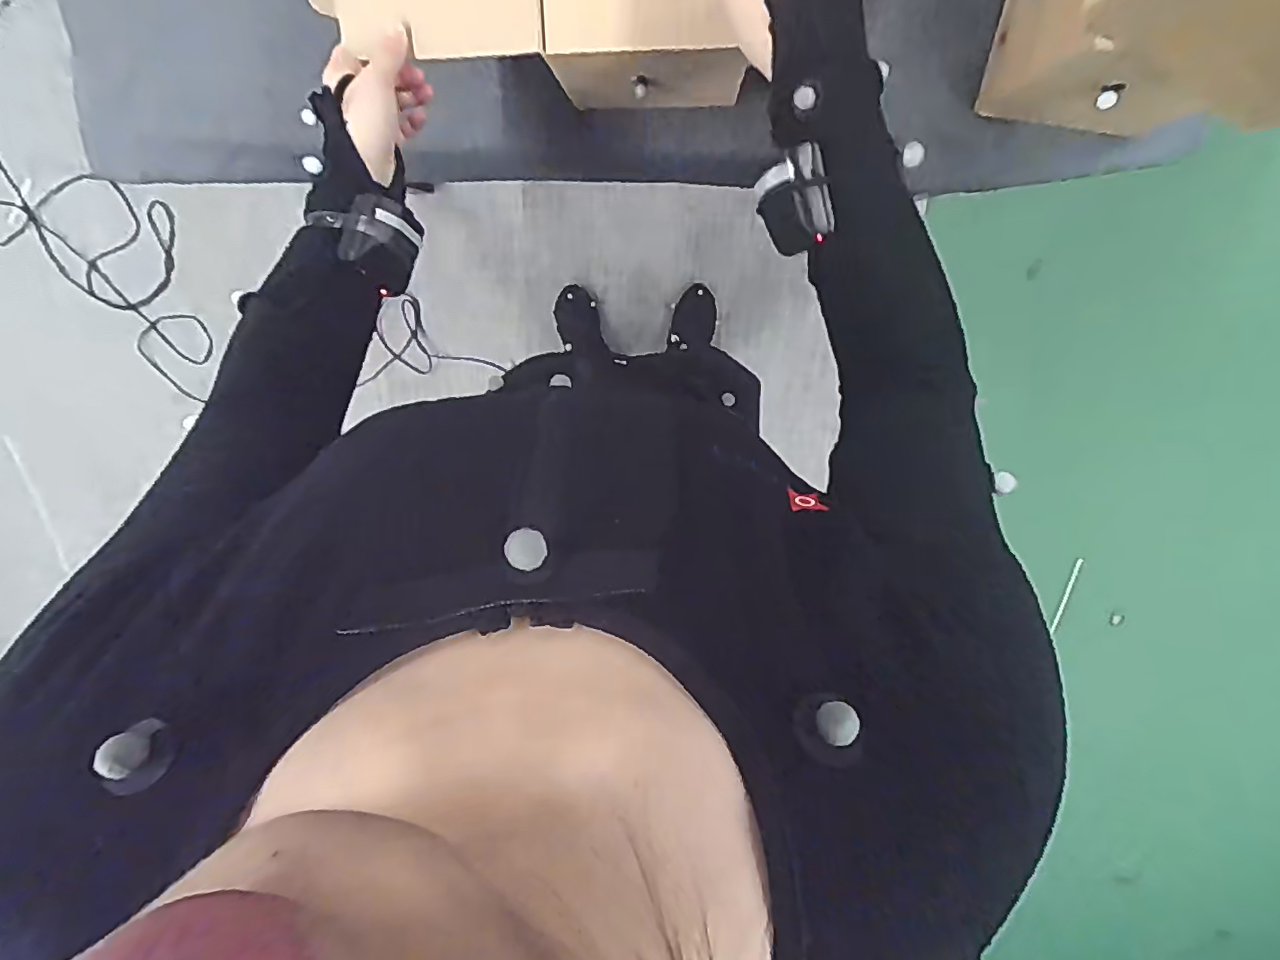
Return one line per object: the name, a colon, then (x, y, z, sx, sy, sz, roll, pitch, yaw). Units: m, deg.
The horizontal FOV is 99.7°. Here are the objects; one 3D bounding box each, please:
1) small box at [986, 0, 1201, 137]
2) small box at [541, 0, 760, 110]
small box: (0.445, -0.418, 0.465, 0.179, 0.176, 0.168, 9, 110, 1)
small box: (0.013, -0.449, 0.482, 0.179, 0.176, 0.168, 2, 112, 4)
